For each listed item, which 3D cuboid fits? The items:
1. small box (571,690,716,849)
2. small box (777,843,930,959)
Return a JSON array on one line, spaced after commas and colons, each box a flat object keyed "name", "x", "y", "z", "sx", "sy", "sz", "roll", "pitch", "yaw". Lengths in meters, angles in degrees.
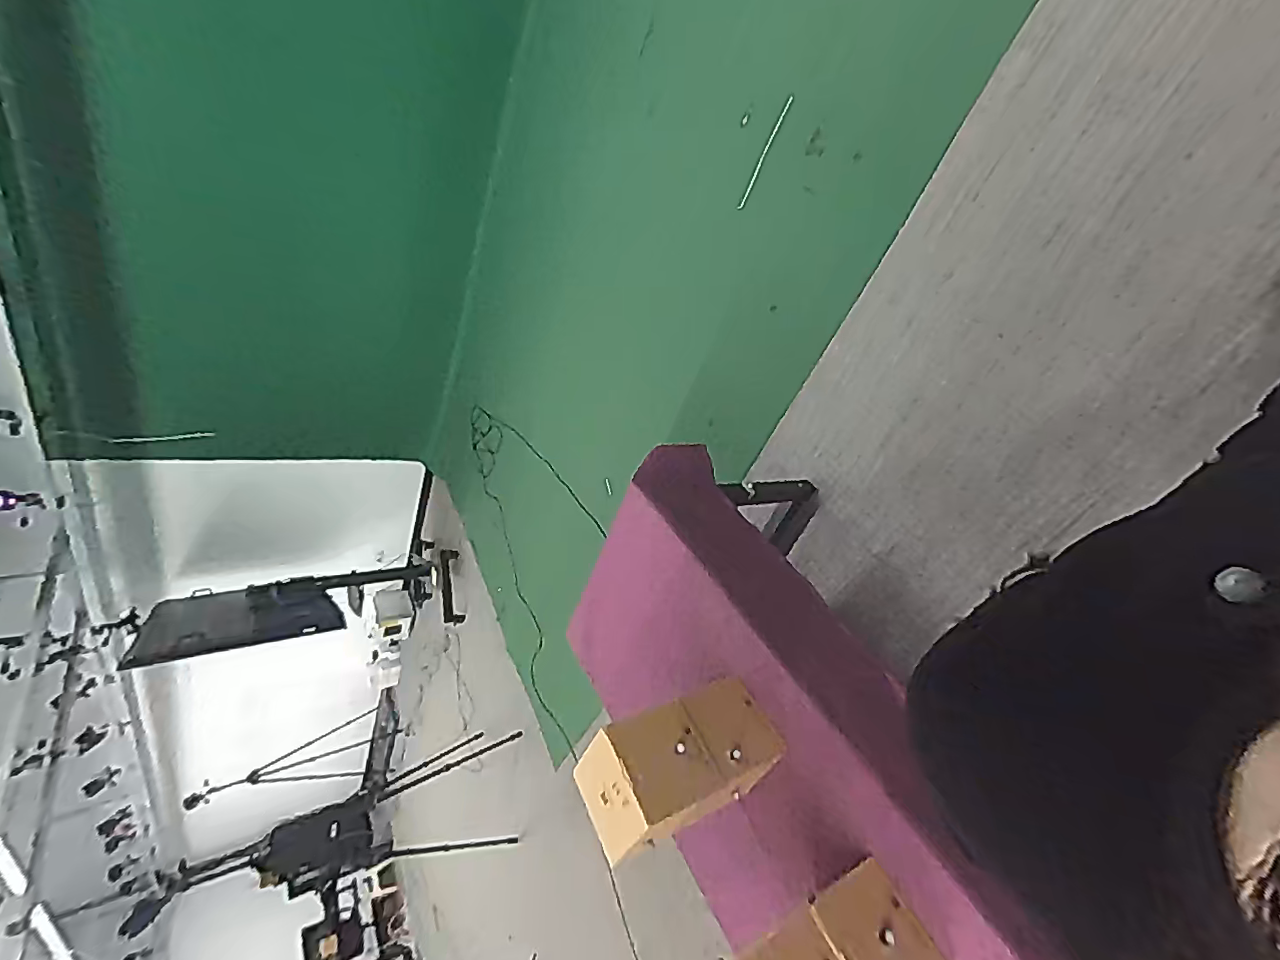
[{"name": "small box", "x": 0.005, "y": 0.507, "z": 0.961, "sx": 0.168, "sy": 0.176, "sz": 0.179, "roll": 54, "pitch": 132, "yaw": 34}, {"name": "small box", "x": 0.315, "y": 0.713, "z": 0.845, "sx": 0.168, "sy": 0.176, "sz": 0.179, "roll": 53, "pitch": 131, "yaw": 37}]
